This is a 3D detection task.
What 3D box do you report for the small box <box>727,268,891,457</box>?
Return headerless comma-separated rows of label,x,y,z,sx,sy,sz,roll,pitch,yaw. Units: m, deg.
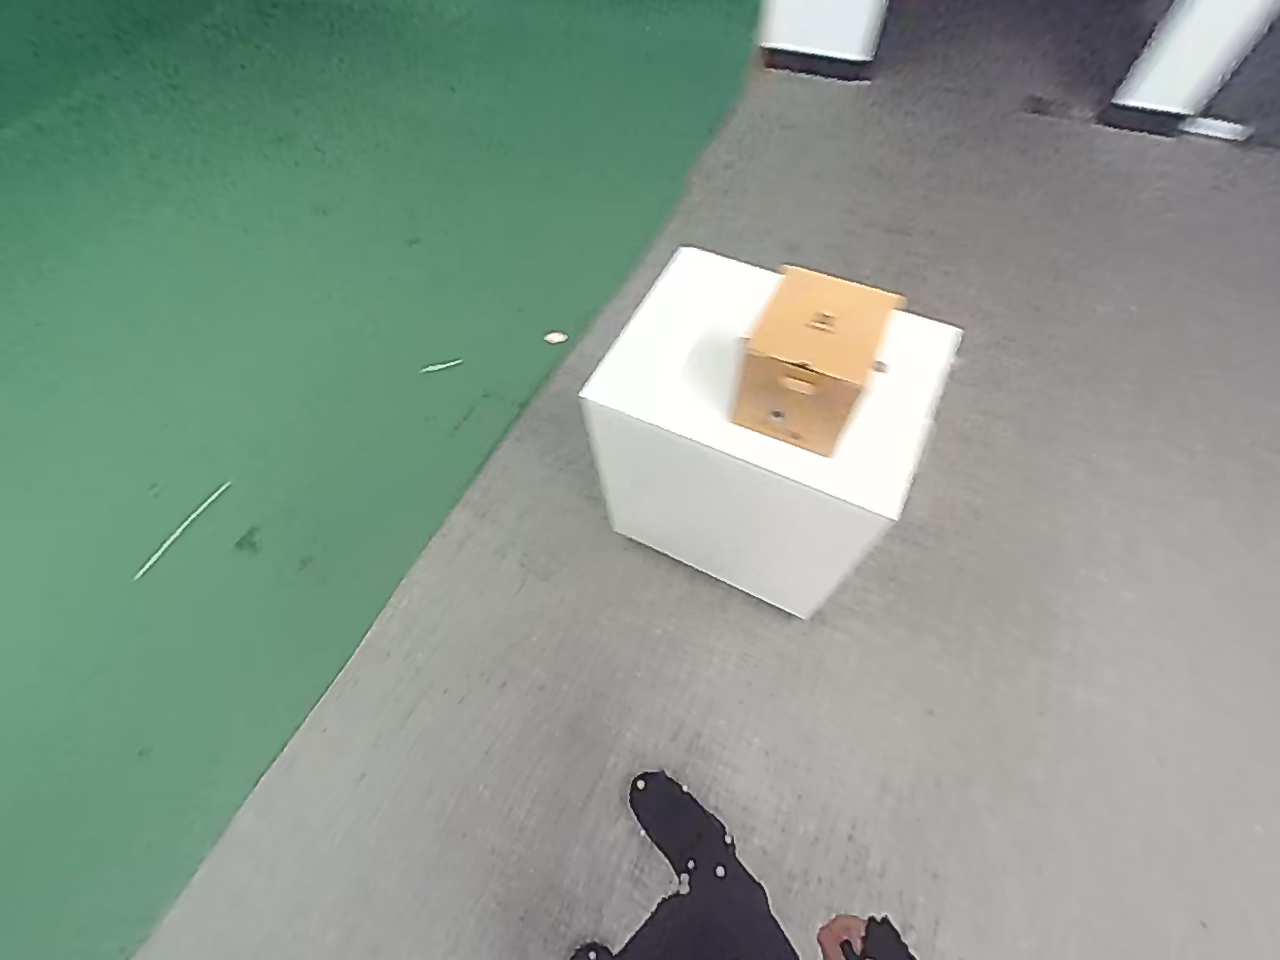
small box,0.234,-0.165,0.784,0.168,0.176,0.179,21,65,14
